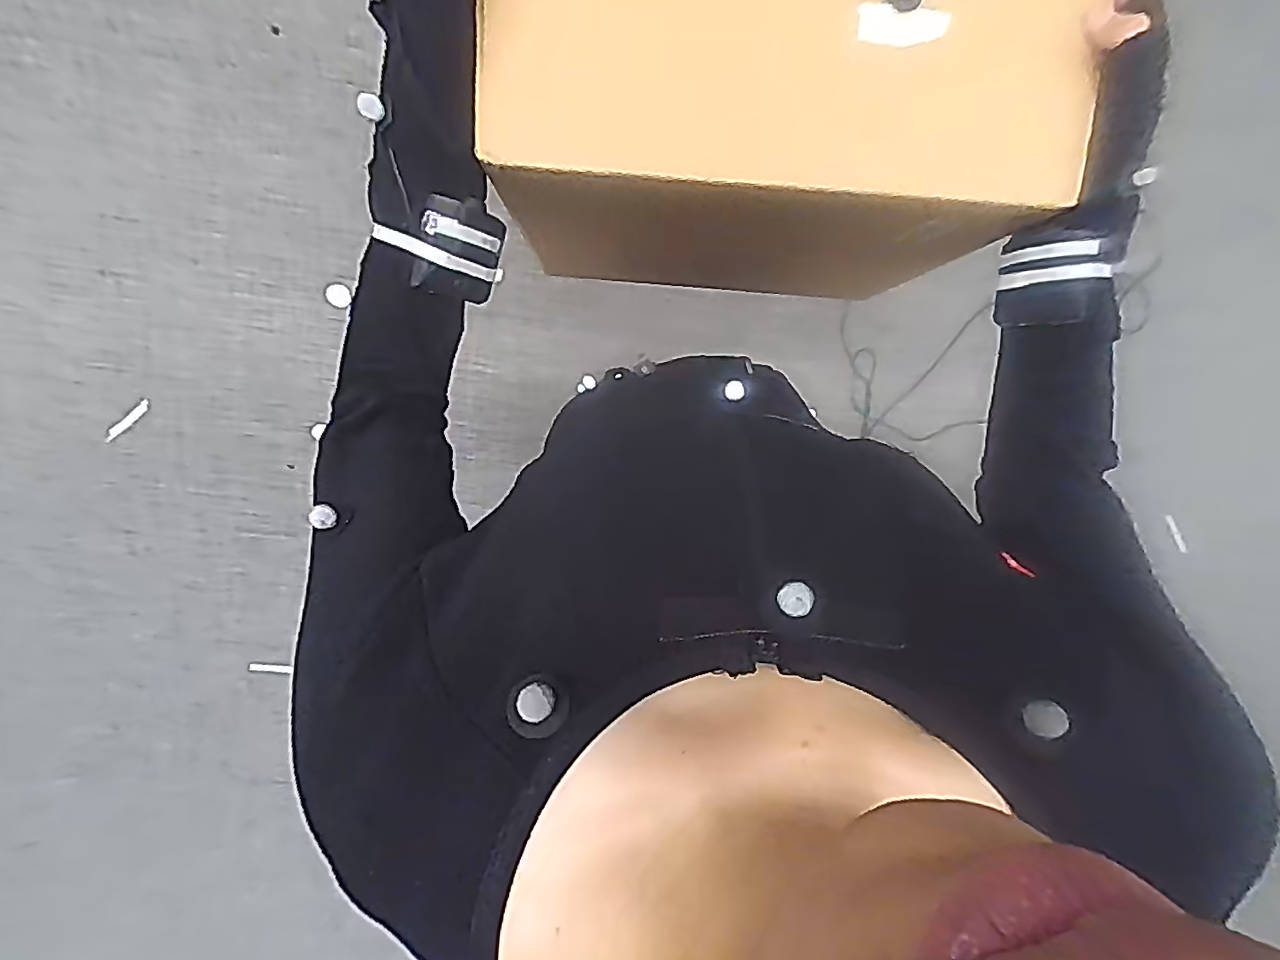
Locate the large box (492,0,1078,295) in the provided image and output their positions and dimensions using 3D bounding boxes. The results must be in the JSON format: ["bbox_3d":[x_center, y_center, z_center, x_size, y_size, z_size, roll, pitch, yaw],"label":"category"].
[{"bbox_3d":[0.096,-0.372,0.508,0.408,0.320,0.320,3,97,-2],"label":"large box"}]
